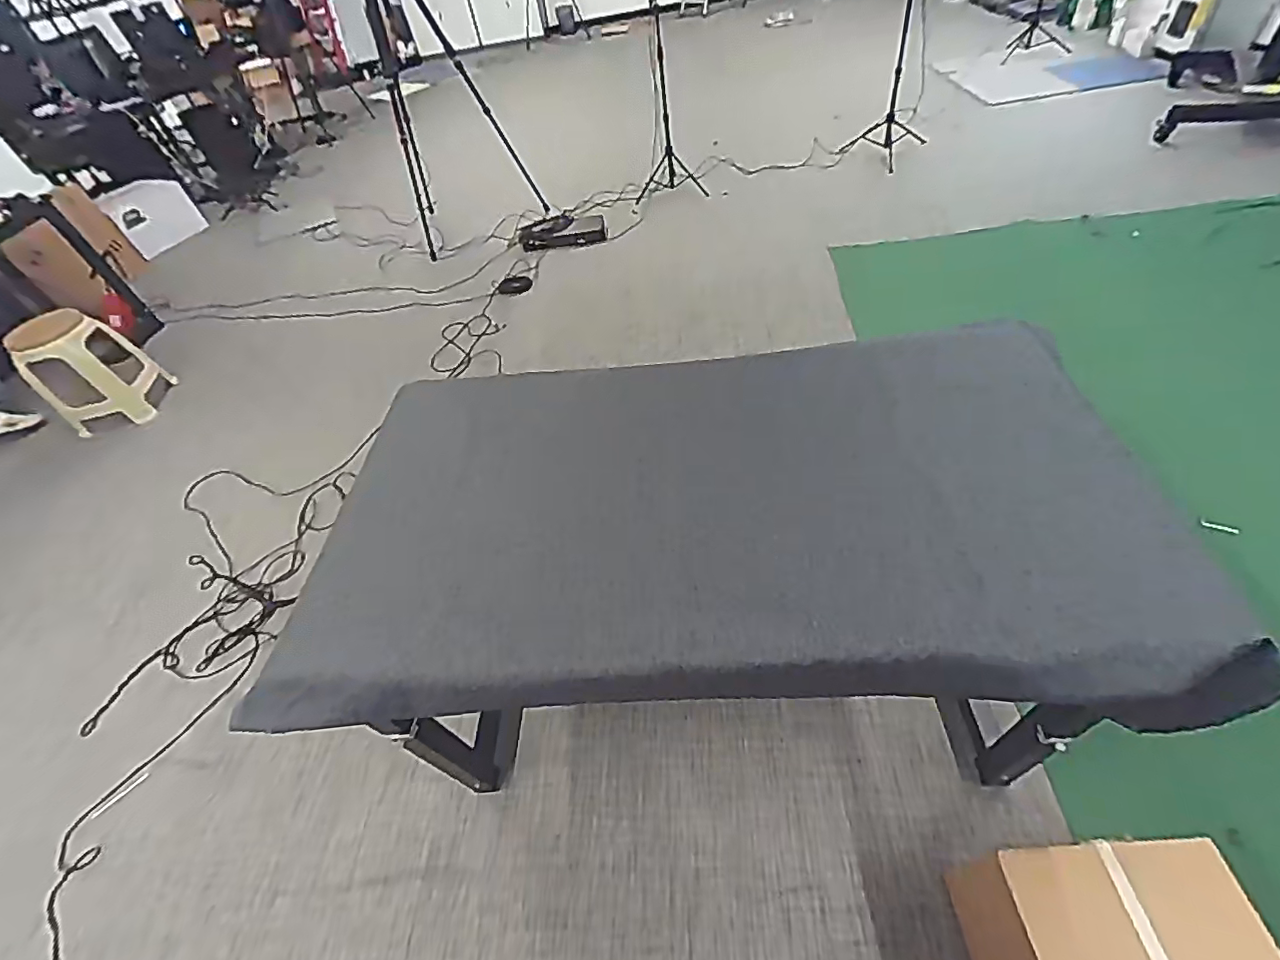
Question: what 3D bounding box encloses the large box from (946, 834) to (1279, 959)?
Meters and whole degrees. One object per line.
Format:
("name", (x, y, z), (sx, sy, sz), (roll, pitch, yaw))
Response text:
("large box", (0.730, 0.795, 0.804), (0.320, 0.320, 0.408), (-8, 48, 5))
